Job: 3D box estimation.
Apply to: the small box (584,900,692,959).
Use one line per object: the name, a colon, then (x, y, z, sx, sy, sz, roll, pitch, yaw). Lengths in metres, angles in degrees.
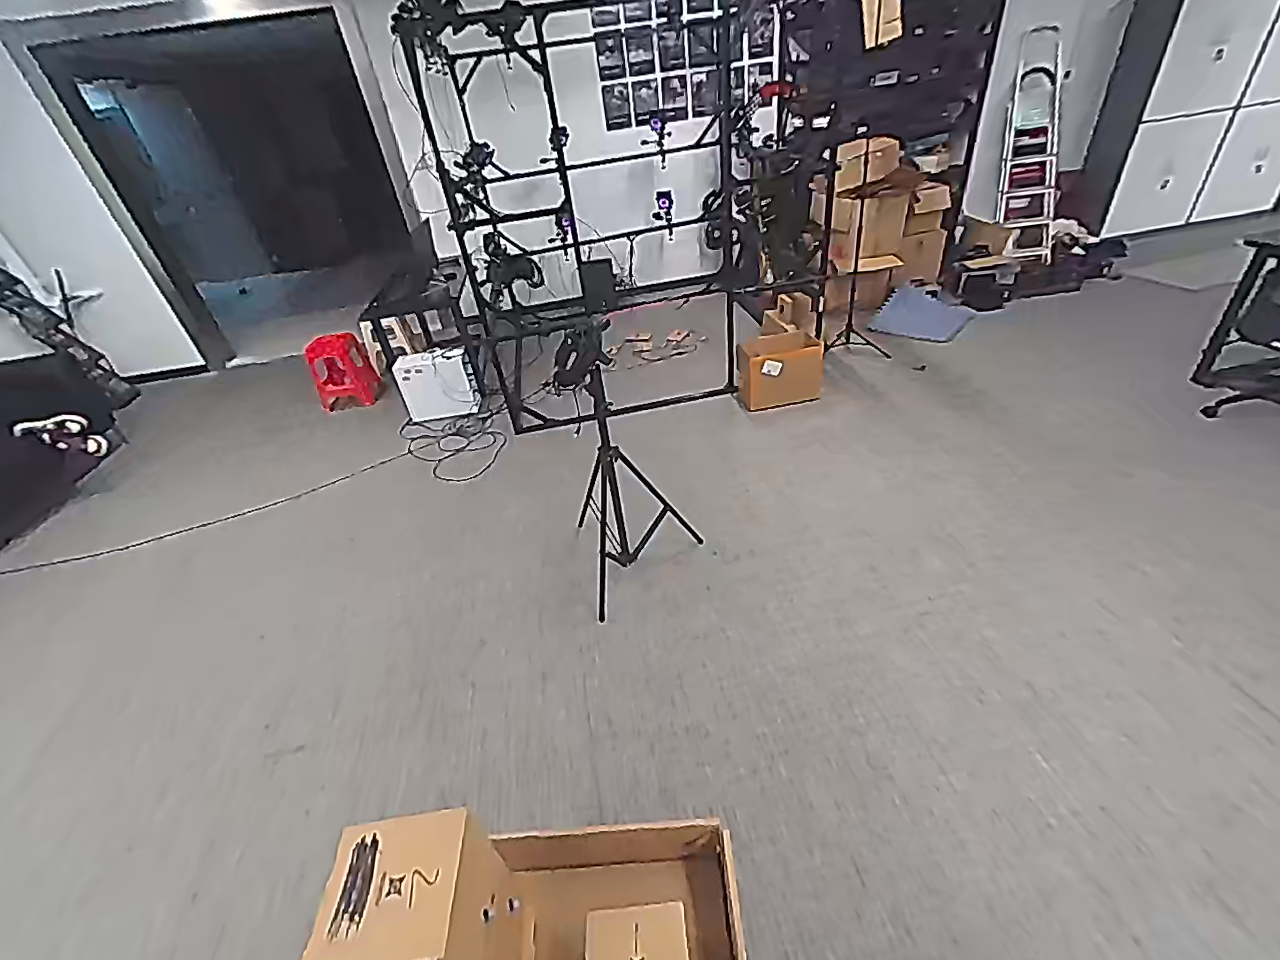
small box: (0.004, 0.823, 0.876, 0.168, 0.176, 0.179, -8, 34, 1)

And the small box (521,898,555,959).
small box: (-0.250, 0.838, 0.907, 0.179, 0.176, 0.168, -7, 36, 0)

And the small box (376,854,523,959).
small box: (-0.279, 0.707, 0.814, 0.168, 0.176, 0.179, -10, 35, -1)
